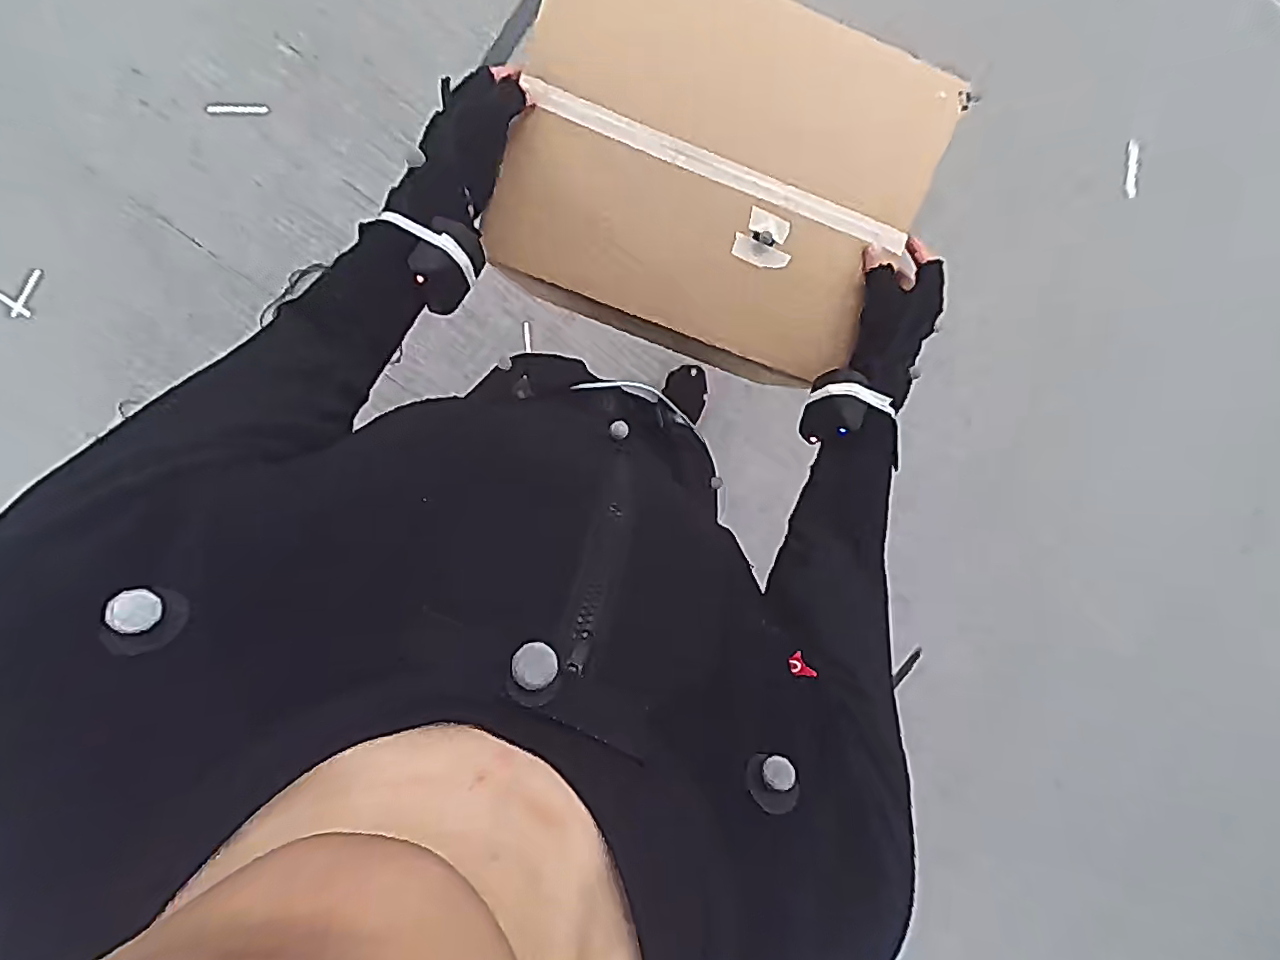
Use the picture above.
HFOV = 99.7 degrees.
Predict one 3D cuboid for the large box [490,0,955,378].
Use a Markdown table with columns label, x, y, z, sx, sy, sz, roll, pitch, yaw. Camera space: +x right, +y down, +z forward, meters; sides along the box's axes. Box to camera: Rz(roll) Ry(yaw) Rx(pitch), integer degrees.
| label | x | y | z | sx | sy | sz | roll | pitch | yaw |
| --- | --- | --- | --- | --- | --- | --- | --- | --- | --- |
| large box | 0.071 | -0.342 | 0.687 | 0.408 | 0.320 | 0.320 | 19 | 101 | -7 |
